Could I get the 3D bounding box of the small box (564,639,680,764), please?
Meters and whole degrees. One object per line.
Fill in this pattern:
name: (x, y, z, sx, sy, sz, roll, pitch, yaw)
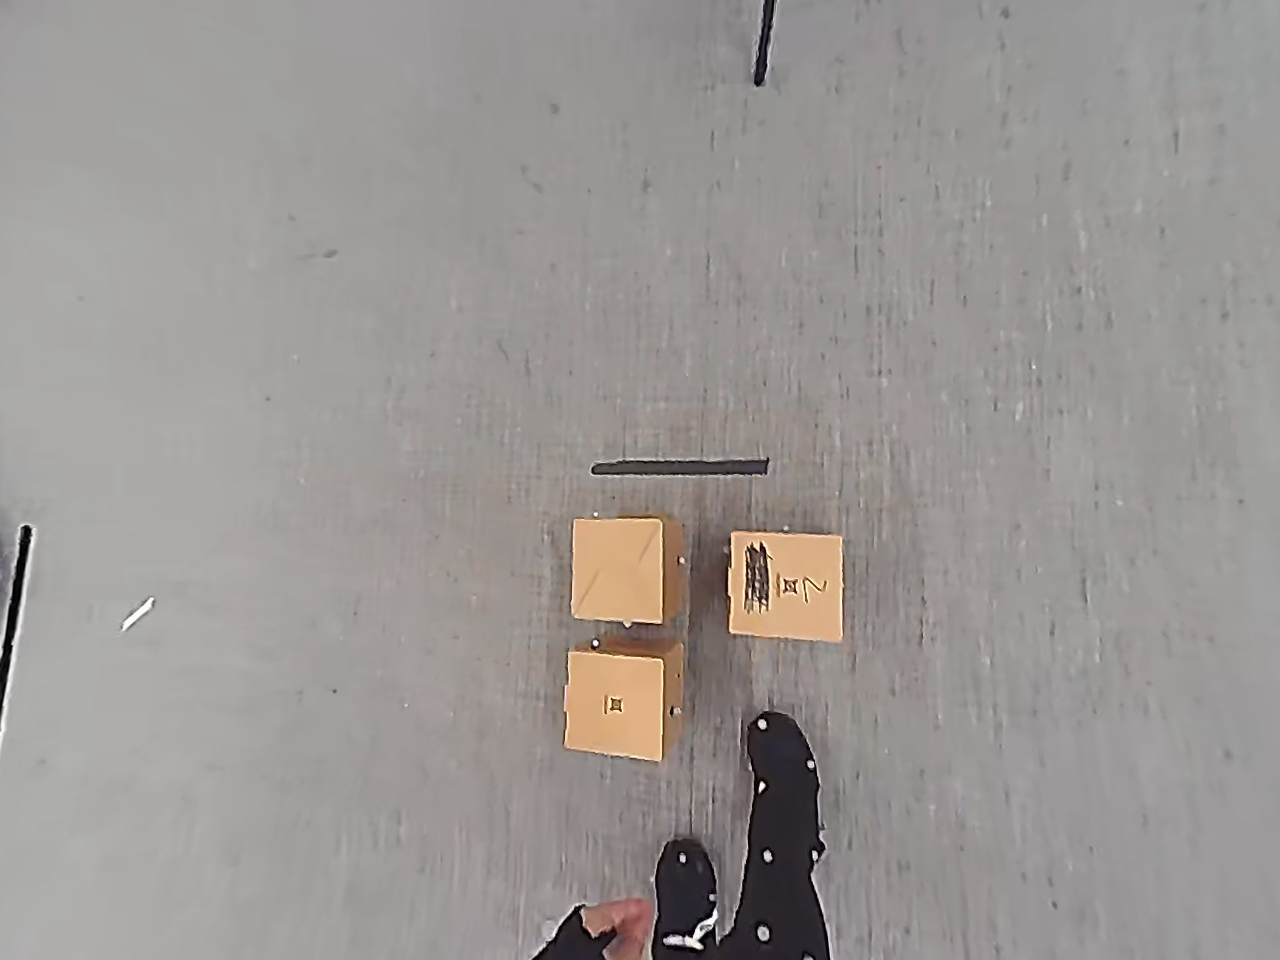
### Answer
small box: (-0.025, 0.394, 0.994, 0.179, 0.176, 0.168, 0, 84, 16)
